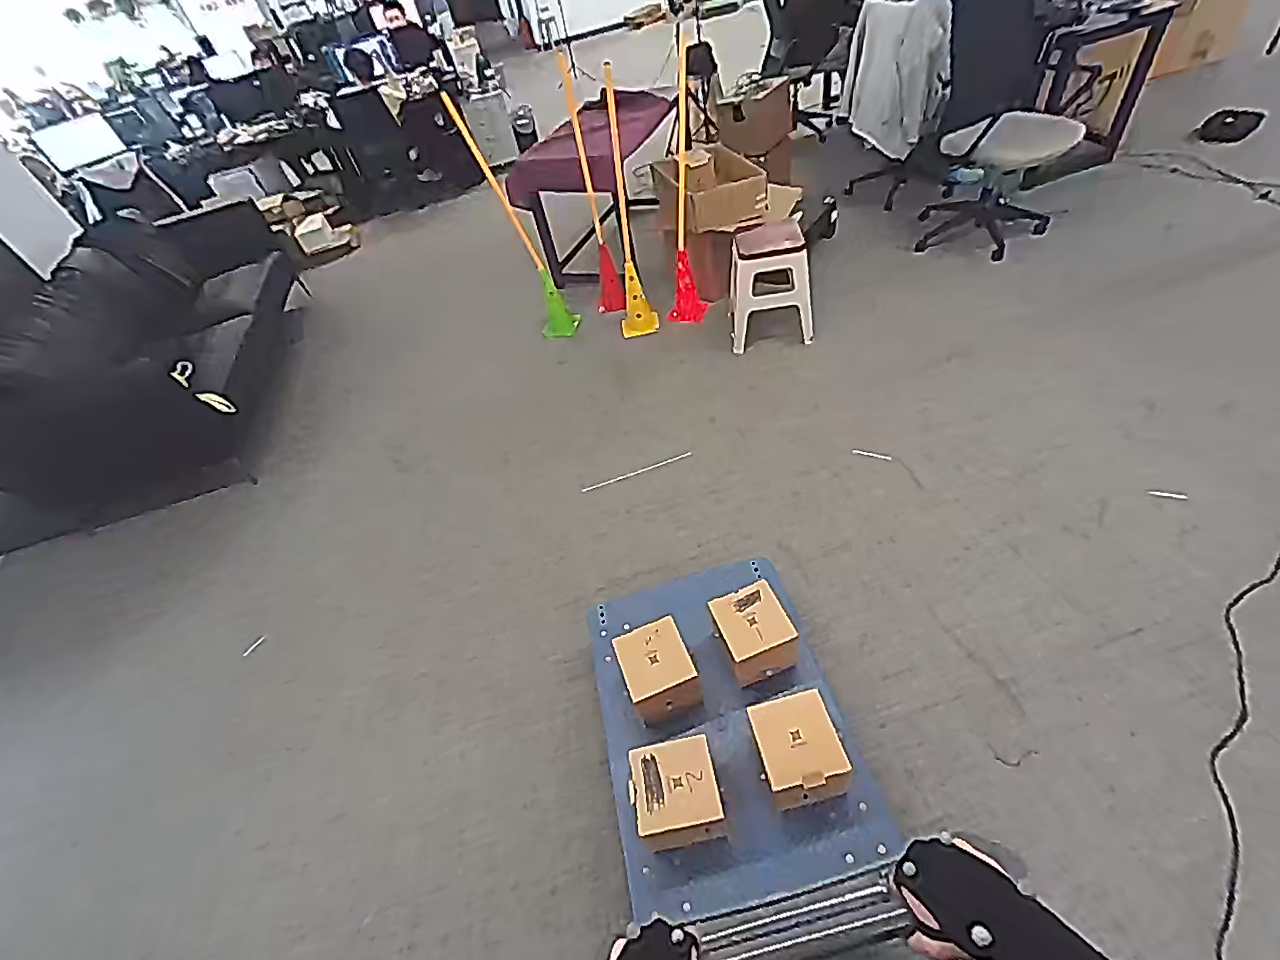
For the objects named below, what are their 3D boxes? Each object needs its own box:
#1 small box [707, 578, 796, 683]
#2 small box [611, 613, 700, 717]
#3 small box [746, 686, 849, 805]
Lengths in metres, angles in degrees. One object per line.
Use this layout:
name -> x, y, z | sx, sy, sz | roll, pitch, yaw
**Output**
small box -> 0.286, 0.391, 1.398 | 0.168, 0.176, 0.179 | -21, 47, -5
small box -> 0.043, 0.478, 1.376 | 0.168, 0.176, 0.179 | -21, 46, -6
small box -> 0.341, 0.592, 1.203 | 0.168, 0.176, 0.179 | -15, 47, -1
